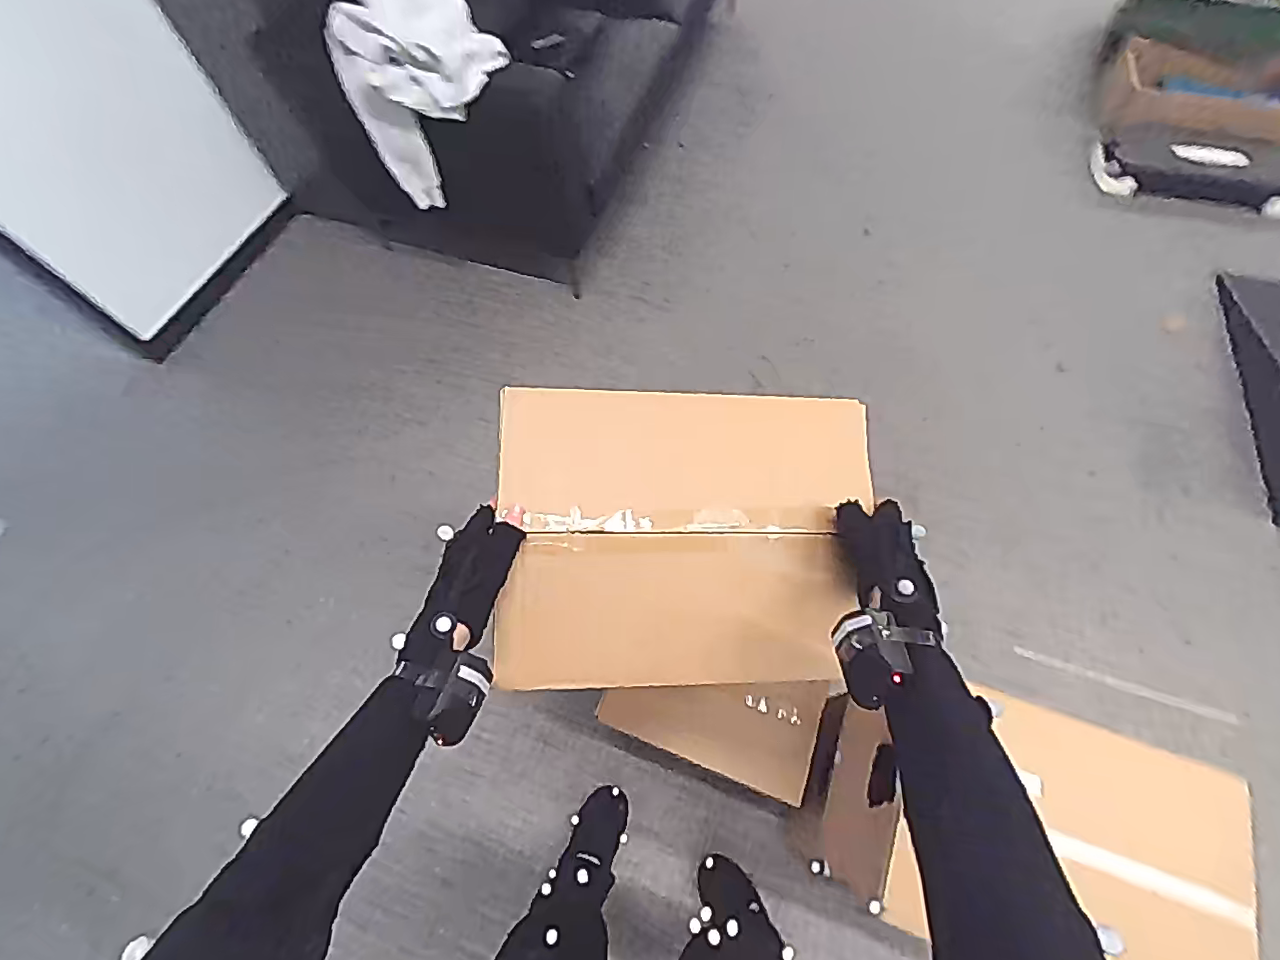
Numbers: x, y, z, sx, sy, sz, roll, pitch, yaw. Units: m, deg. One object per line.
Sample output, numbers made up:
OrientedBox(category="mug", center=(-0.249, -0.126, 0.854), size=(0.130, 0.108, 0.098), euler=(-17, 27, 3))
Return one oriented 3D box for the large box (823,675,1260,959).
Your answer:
OrientedBox(category="large box", center=(0.531, 0.511, 0.791), size=(0.408, 0.320, 0.320), euler=(17, 69, 12))
